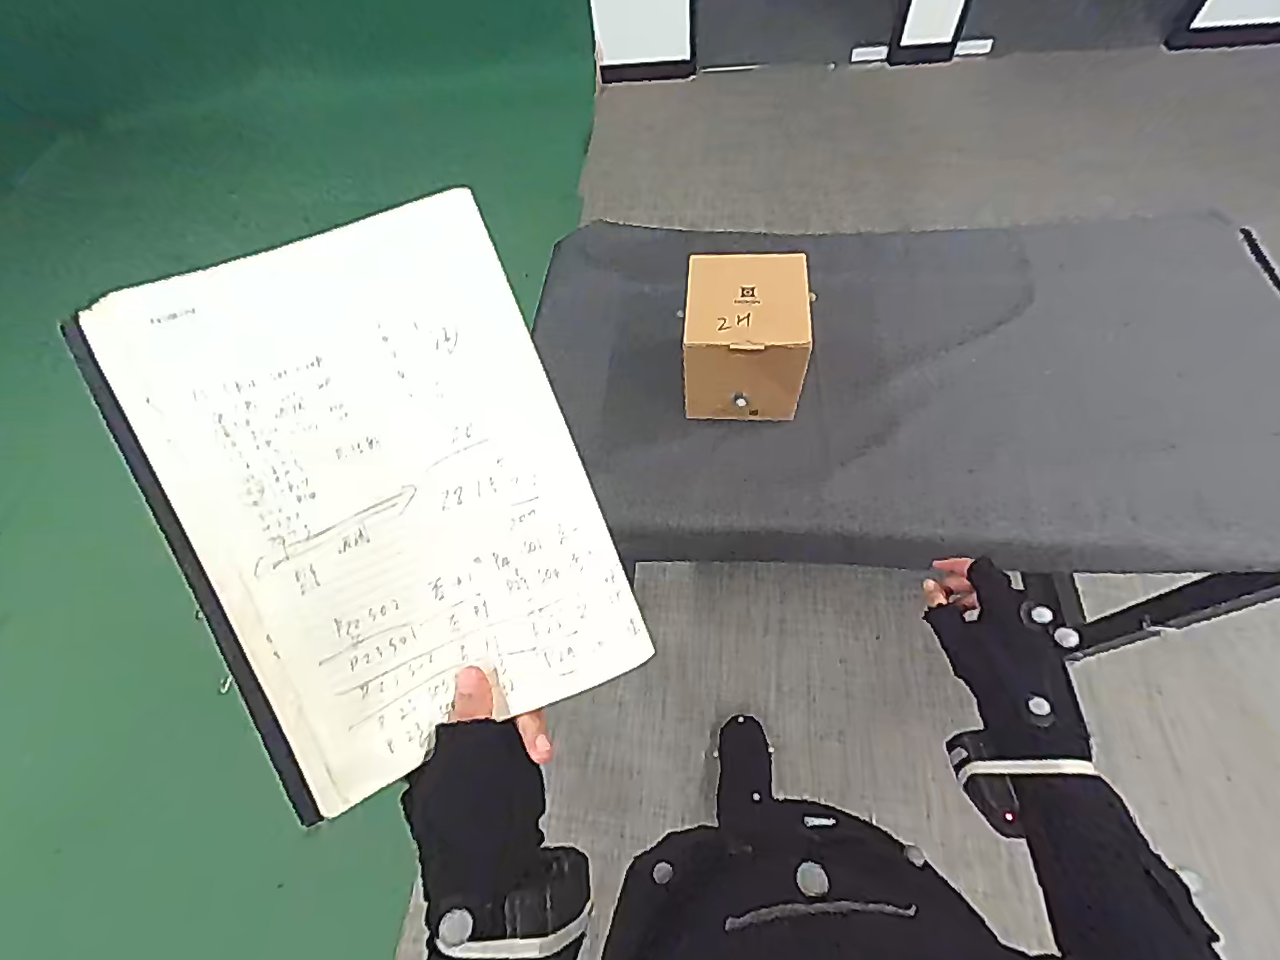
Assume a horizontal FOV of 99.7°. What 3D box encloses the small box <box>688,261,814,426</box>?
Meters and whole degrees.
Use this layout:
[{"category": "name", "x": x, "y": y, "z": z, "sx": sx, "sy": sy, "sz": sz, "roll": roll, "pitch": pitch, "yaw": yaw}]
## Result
[{"category": "small box", "x": 0.159, "y": -0.202, "z": 0.808, "sx": 0.168, "sy": 0.176, "sz": 0.179, "roll": 2, "pitch": 61, "yaw": 8}]
